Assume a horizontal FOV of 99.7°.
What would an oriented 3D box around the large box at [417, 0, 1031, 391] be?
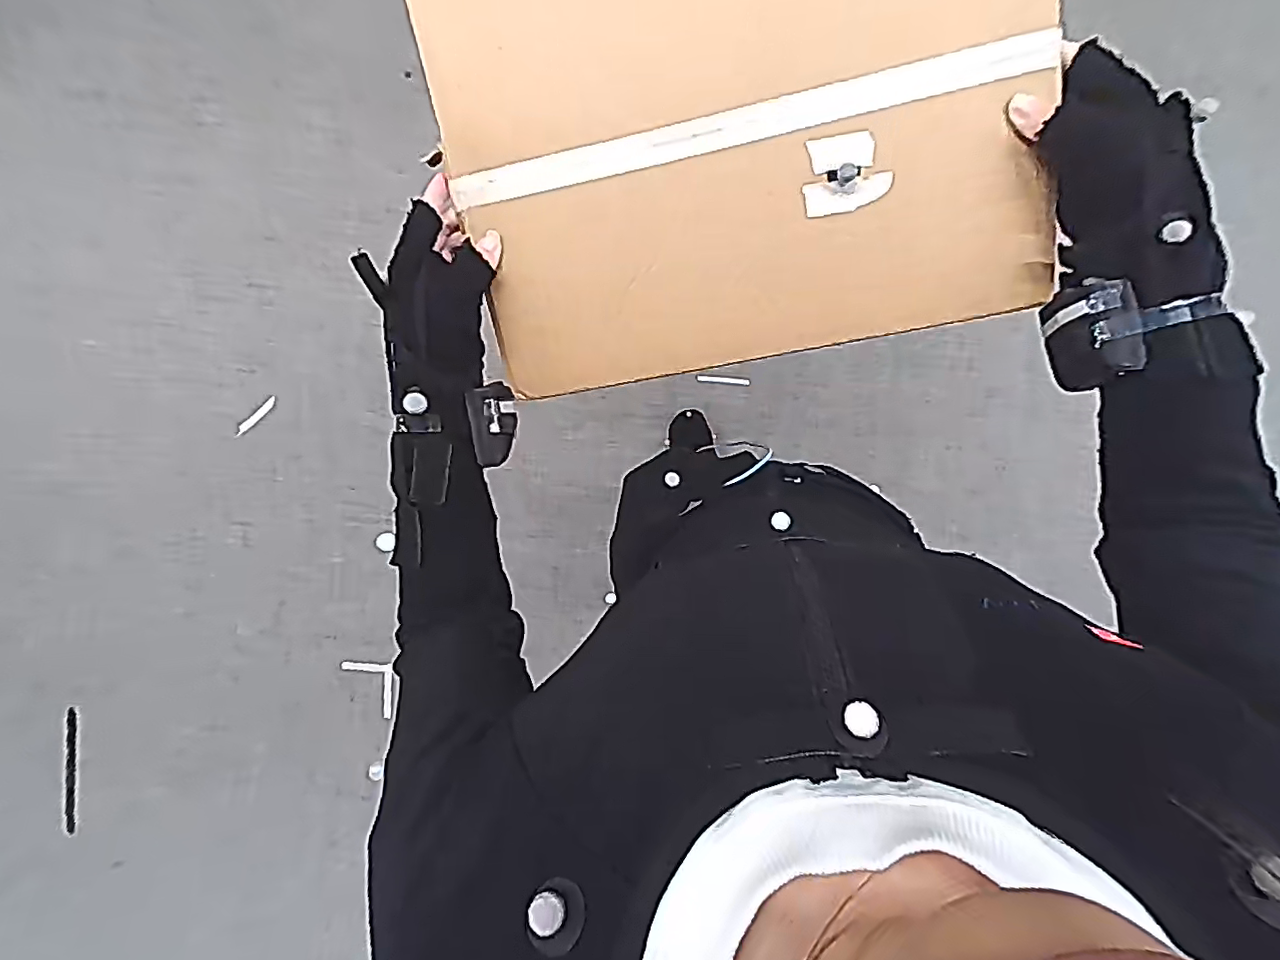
[{"bbox_3d":[0.073,-0.295,0.525,0.408,0.320,0.320,-10,108,7],"label":"large box"}]
